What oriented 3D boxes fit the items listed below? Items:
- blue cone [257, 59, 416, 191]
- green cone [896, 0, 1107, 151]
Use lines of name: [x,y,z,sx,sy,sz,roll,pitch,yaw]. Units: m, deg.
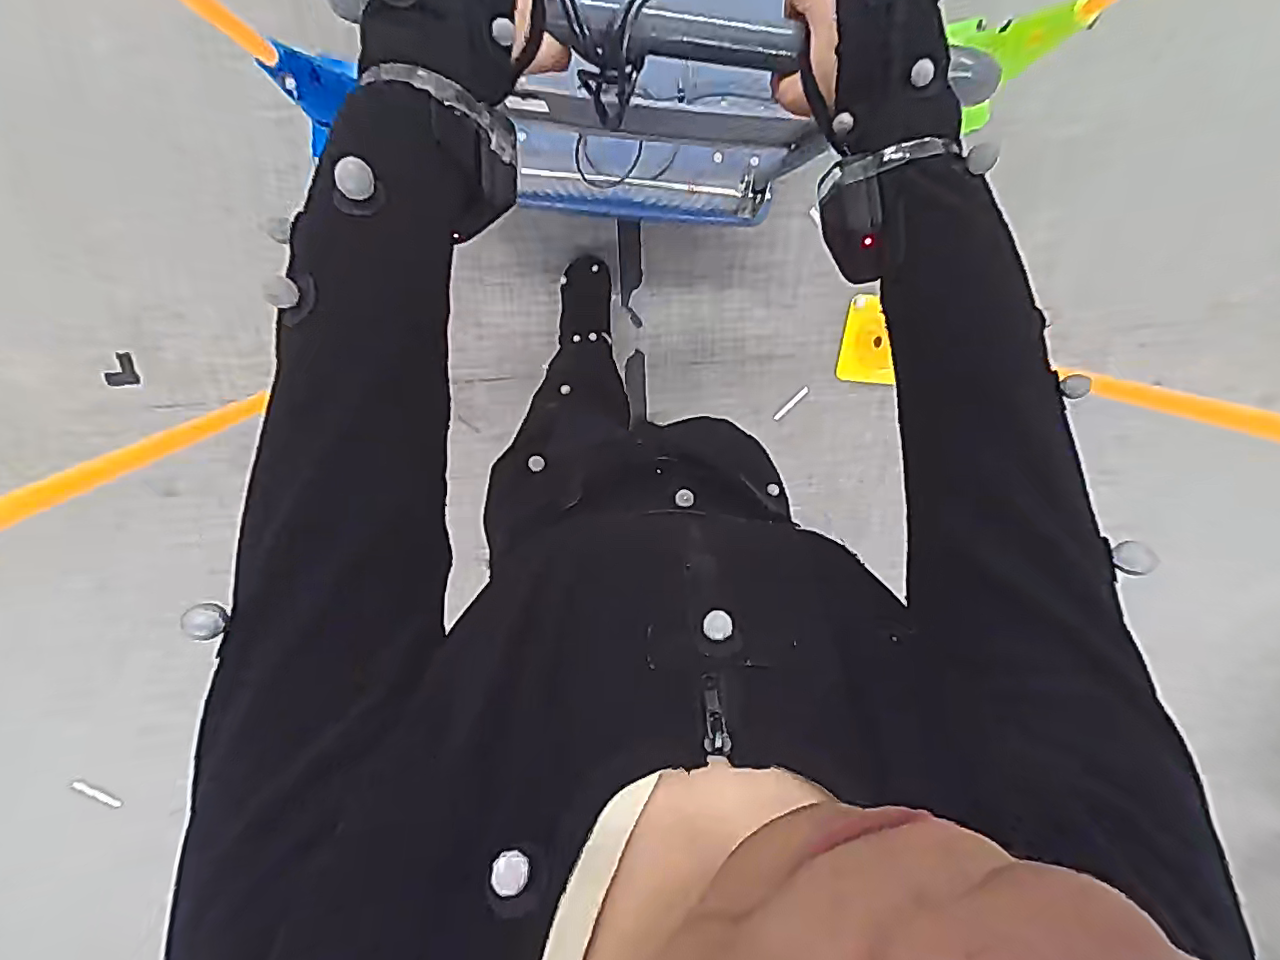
blue cone: [-0.521,-0.627,0.904,0.193,0.380,0.192,10,109,-10]
green cone: [0.651,-0.758,0.966,0.200,0.368,0.202,-17,112,1]
